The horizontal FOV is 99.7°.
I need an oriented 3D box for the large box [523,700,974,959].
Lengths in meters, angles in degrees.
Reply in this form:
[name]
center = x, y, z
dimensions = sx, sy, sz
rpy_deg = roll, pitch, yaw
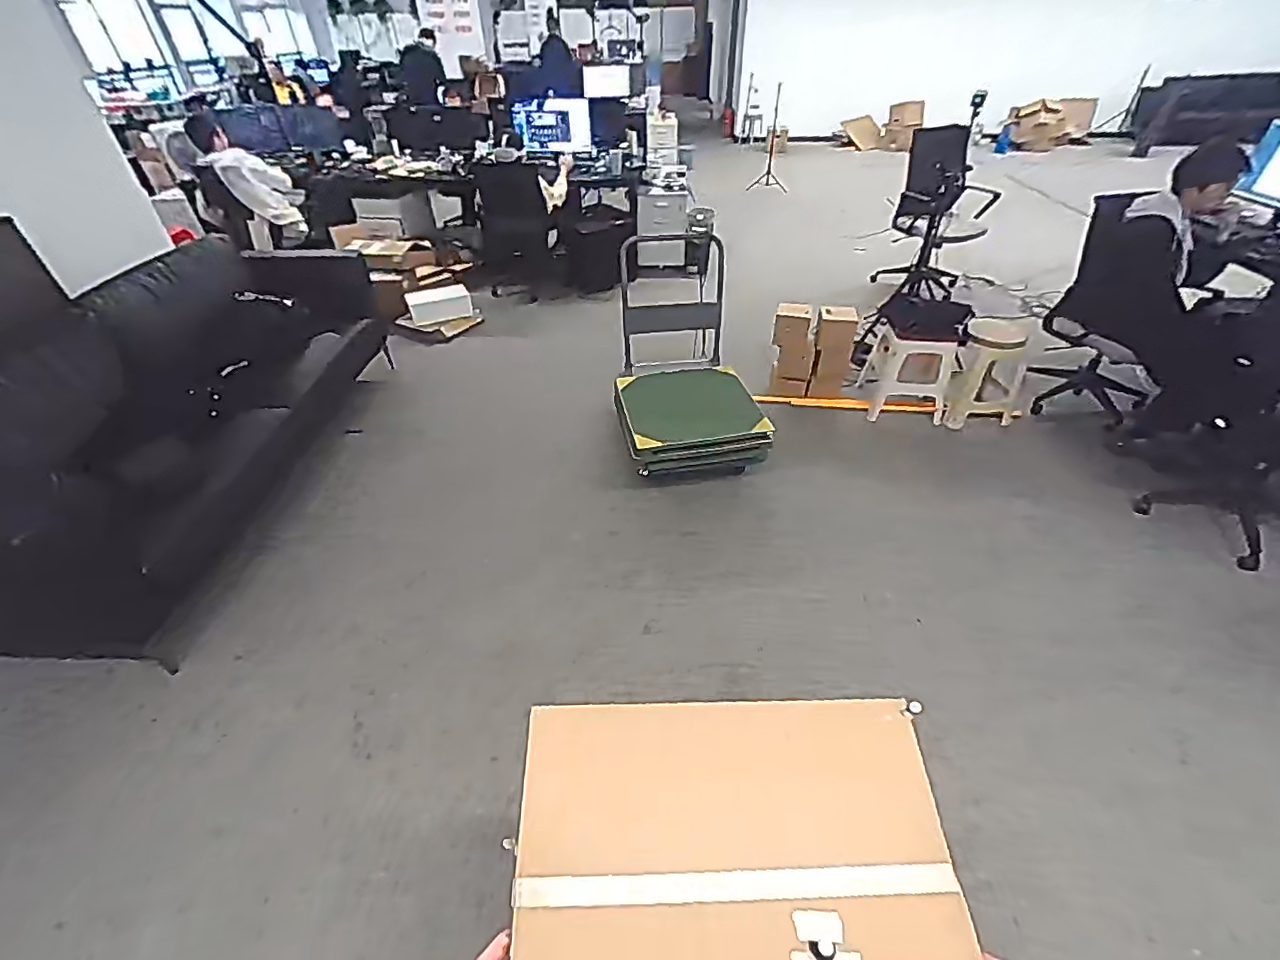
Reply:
[large box]
center = 0.088, 0.457, 0.623
dimensions = 0.408, 0.320, 0.320
rpy_deg = -1, 57, -2
